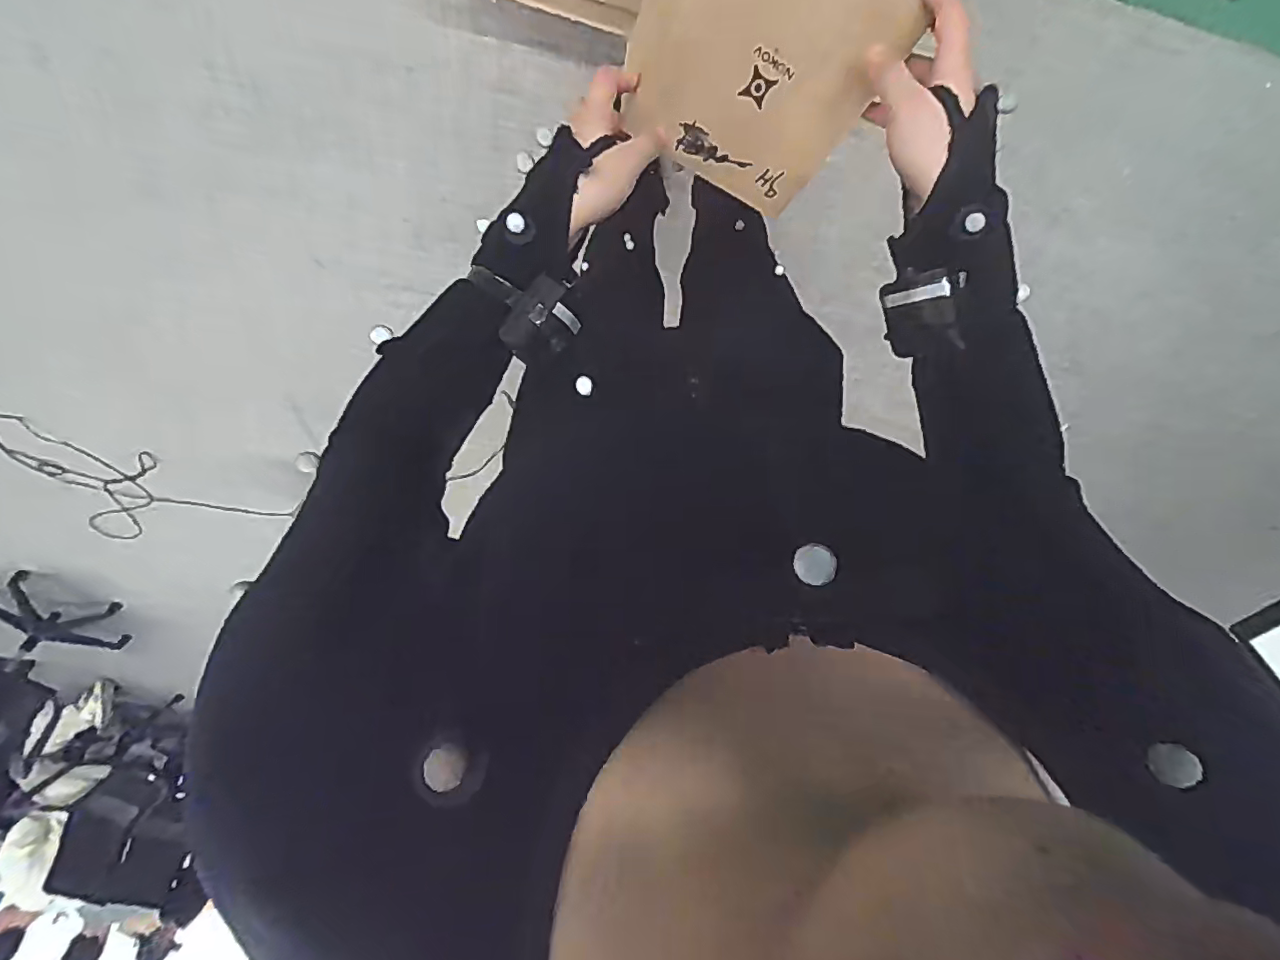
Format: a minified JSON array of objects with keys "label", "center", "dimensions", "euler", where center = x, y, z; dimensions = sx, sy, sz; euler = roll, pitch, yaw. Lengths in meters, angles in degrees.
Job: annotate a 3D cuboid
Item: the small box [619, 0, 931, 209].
[{"label":"small box","center":[0.092,-0.378,0.447],"dimensions":[0.168,0.176,0.179],"euler":[17,144,-22]}]
